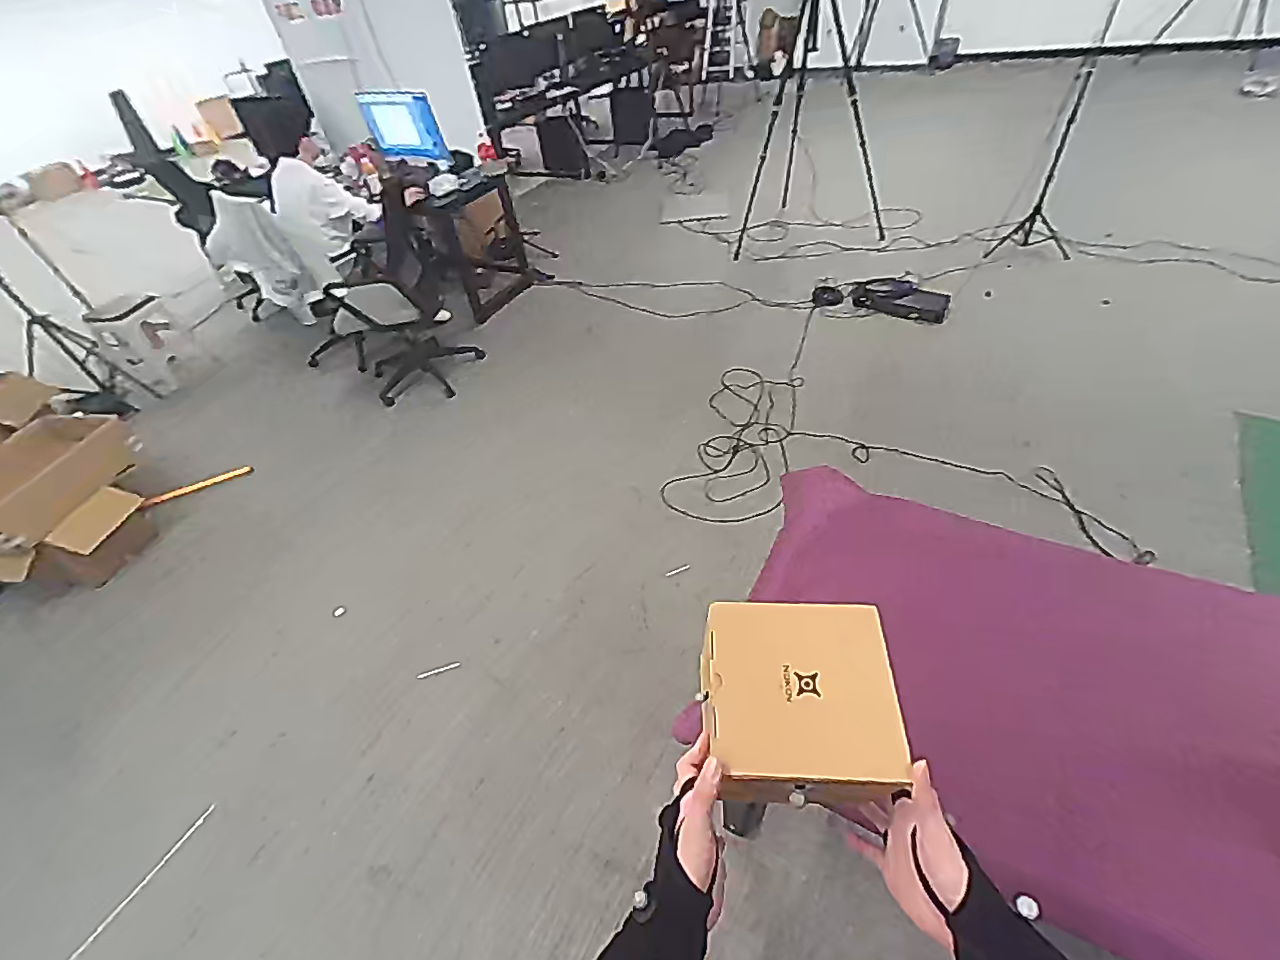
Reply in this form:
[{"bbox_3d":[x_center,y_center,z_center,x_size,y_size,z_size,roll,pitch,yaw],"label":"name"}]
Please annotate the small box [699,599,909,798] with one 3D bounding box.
[{"bbox_3d":[0.157,0.241,0.587,0.179,0.176,0.168,0,54,4],"label":"small box"}]
